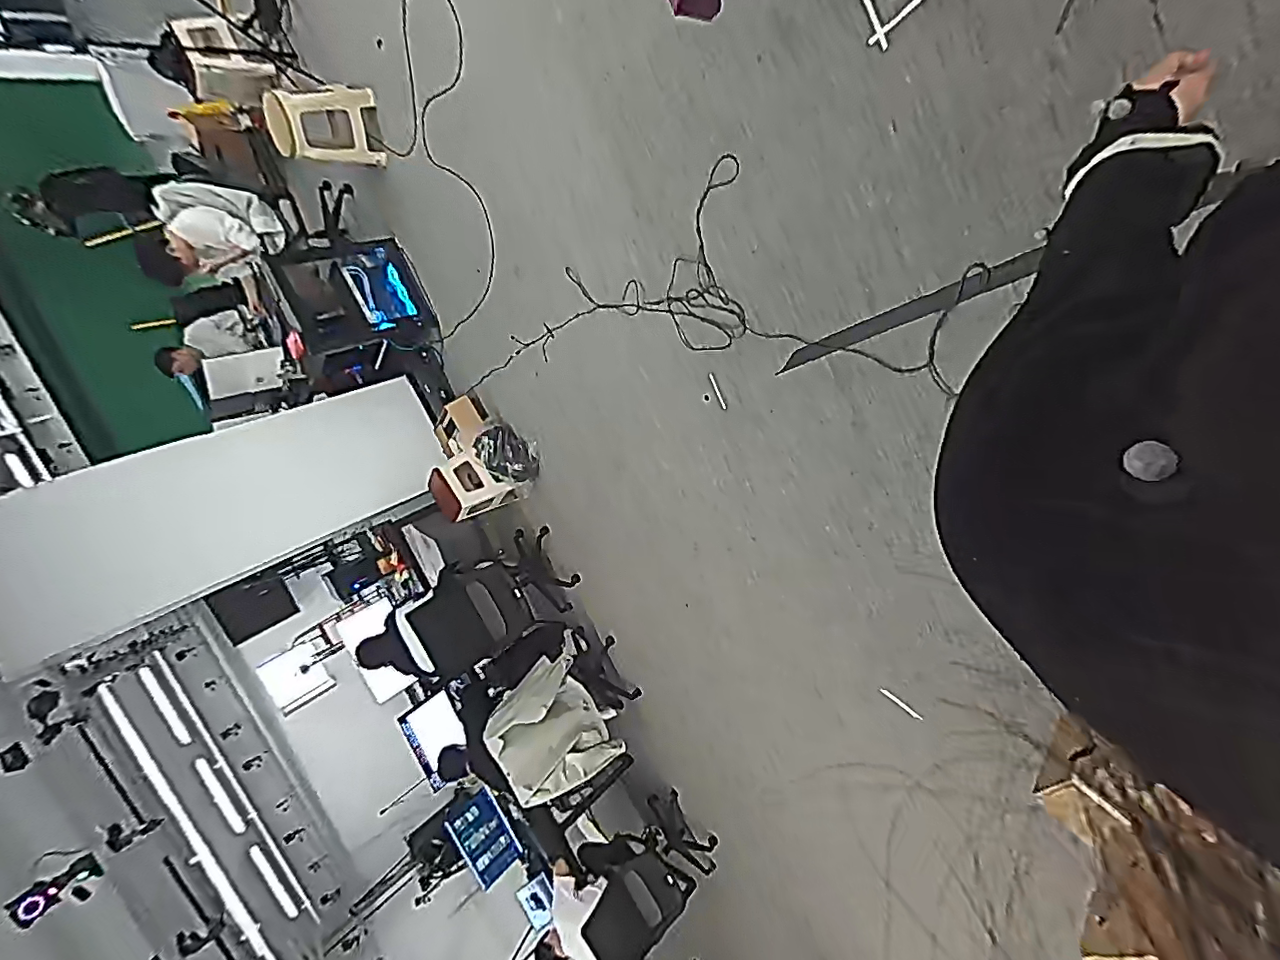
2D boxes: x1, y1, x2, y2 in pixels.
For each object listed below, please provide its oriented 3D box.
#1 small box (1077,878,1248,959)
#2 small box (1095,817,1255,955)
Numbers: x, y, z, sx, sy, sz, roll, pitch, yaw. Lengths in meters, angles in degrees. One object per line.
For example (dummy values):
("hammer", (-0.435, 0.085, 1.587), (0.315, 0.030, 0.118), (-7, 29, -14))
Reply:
("small box", (1.001, 0.910, 1.035), (0.168, 0.176, 0.179), (42, 140, 22))
("small box", (1.115, 0.850, 1.133), (0.168, 0.176, 0.179), (42, 141, 24))
